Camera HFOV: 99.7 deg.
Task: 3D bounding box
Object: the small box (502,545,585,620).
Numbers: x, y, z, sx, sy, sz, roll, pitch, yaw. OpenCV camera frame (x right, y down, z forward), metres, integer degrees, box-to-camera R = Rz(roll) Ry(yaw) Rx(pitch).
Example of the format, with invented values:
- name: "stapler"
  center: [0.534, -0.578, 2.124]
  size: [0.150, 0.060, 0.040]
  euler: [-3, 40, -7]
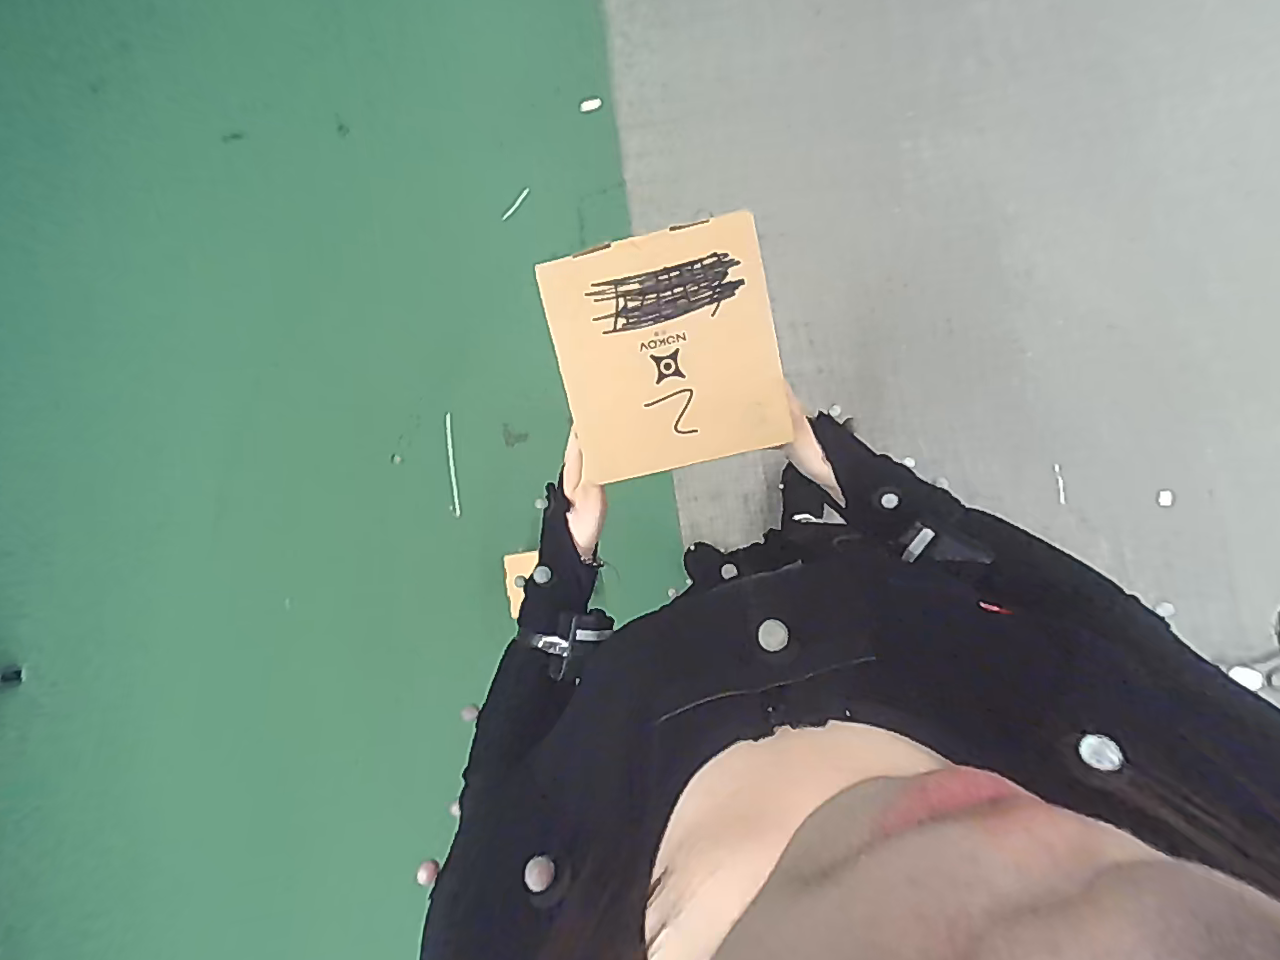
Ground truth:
- name: "small box"
  center: [-0.257, 0.276, 1.491]
  size: [0.179, 0.176, 0.168]
  euler: [-10, 87, 8]
